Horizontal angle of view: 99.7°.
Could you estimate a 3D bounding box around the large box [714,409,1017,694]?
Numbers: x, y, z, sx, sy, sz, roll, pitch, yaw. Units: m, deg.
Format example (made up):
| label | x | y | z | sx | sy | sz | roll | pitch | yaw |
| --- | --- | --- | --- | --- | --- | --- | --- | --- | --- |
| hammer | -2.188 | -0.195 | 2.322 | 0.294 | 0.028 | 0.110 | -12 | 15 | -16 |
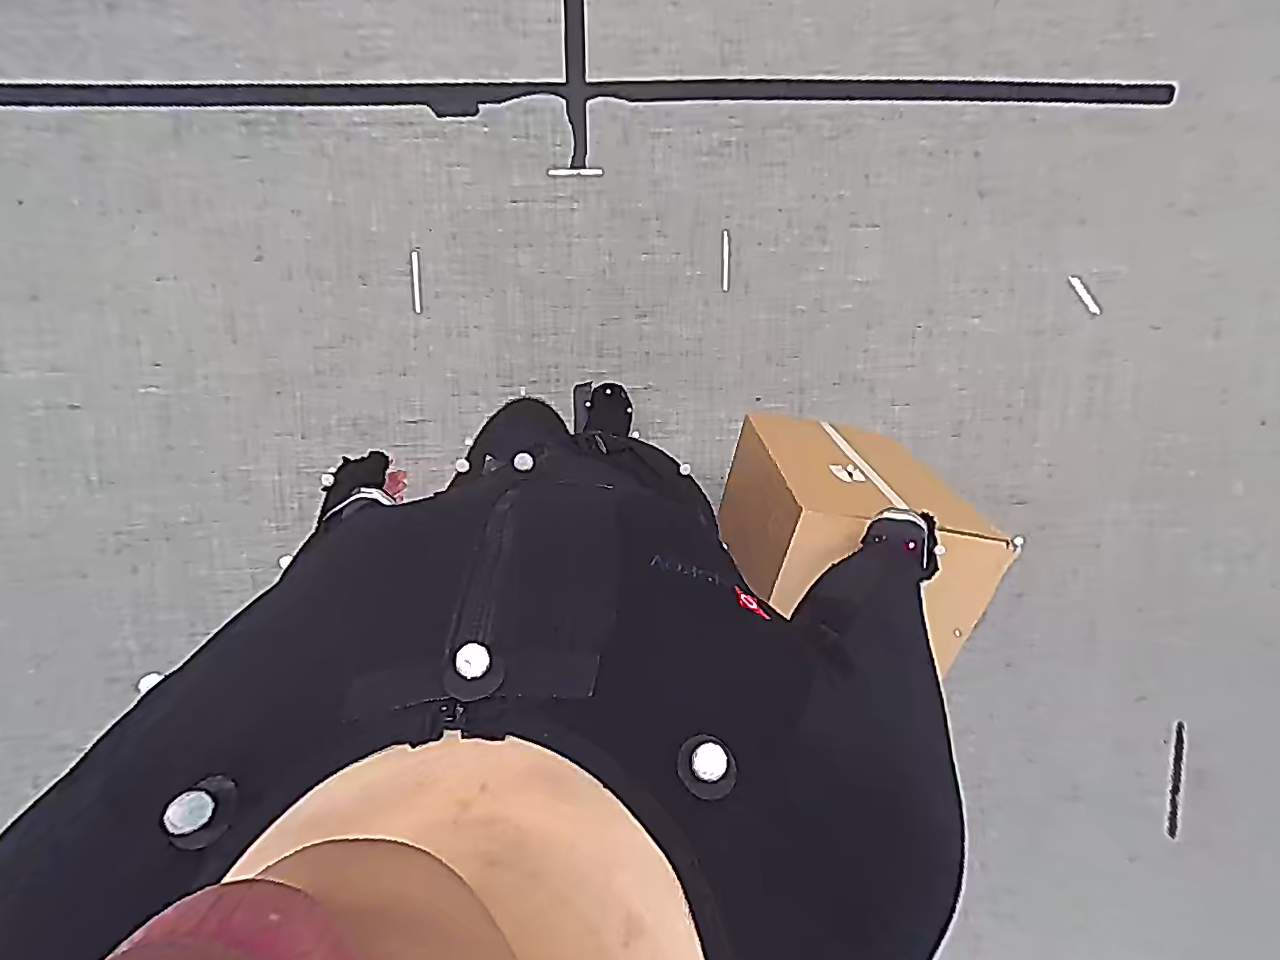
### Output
| label | x | y | z | sx | sy | sz | roll | pitch | yaw |
| --- | --- | --- | --- | --- | --- | --- | --- | --- | --- |
| large box | 0.343 | 0.105 | 0.976 | 0.320 | 0.408 | 0.320 | 9 | 117 | -5 |
